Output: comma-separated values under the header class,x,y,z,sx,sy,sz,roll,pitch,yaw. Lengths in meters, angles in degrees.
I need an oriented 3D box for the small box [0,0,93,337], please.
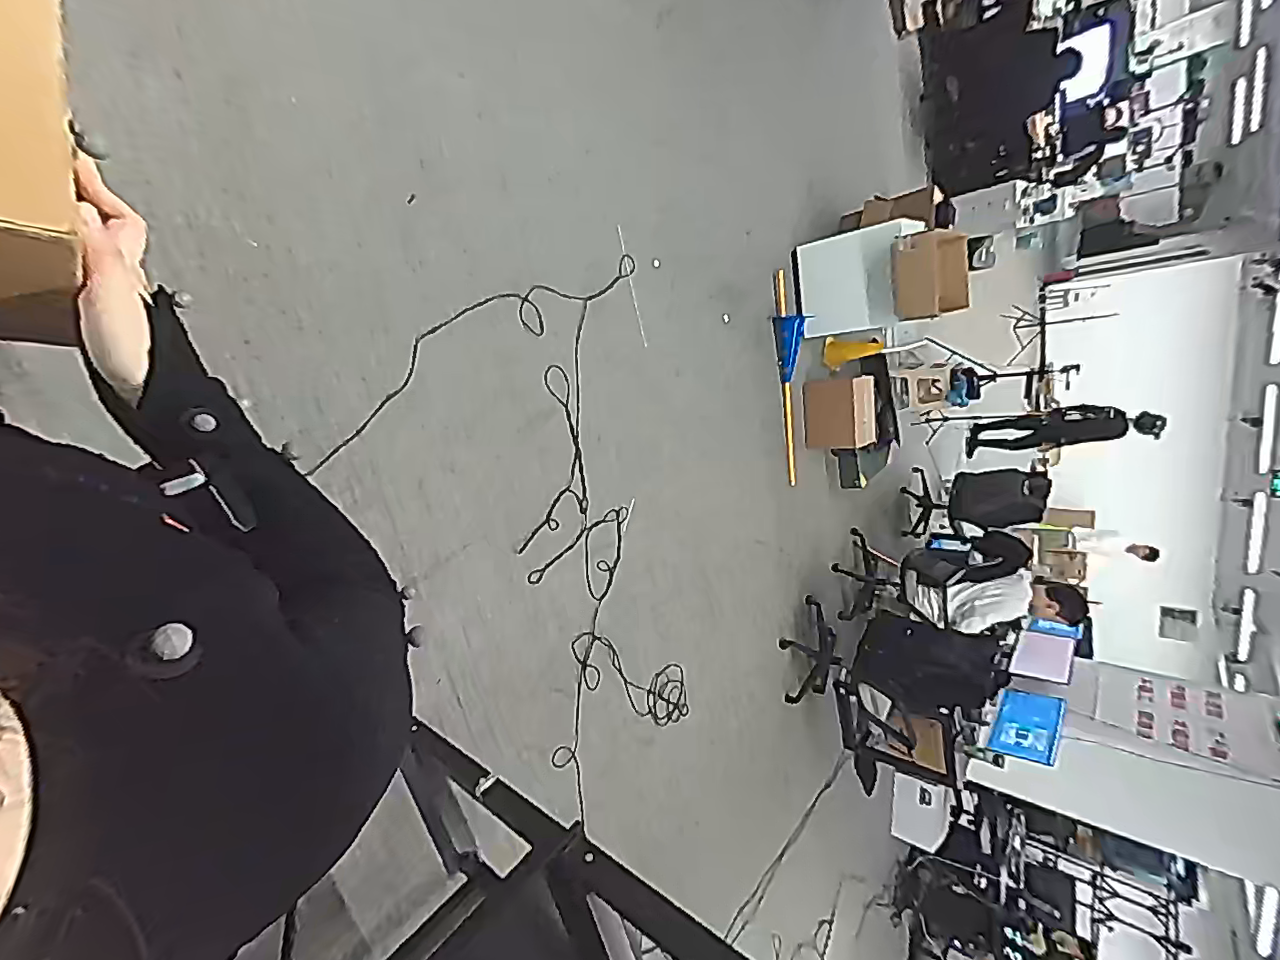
class,x,y,z,sx,sy,sz,roll,pitch,yaw
small box,-0.412,-0.195,0.283,0.168,0.176,0.179,-5,86,-47
